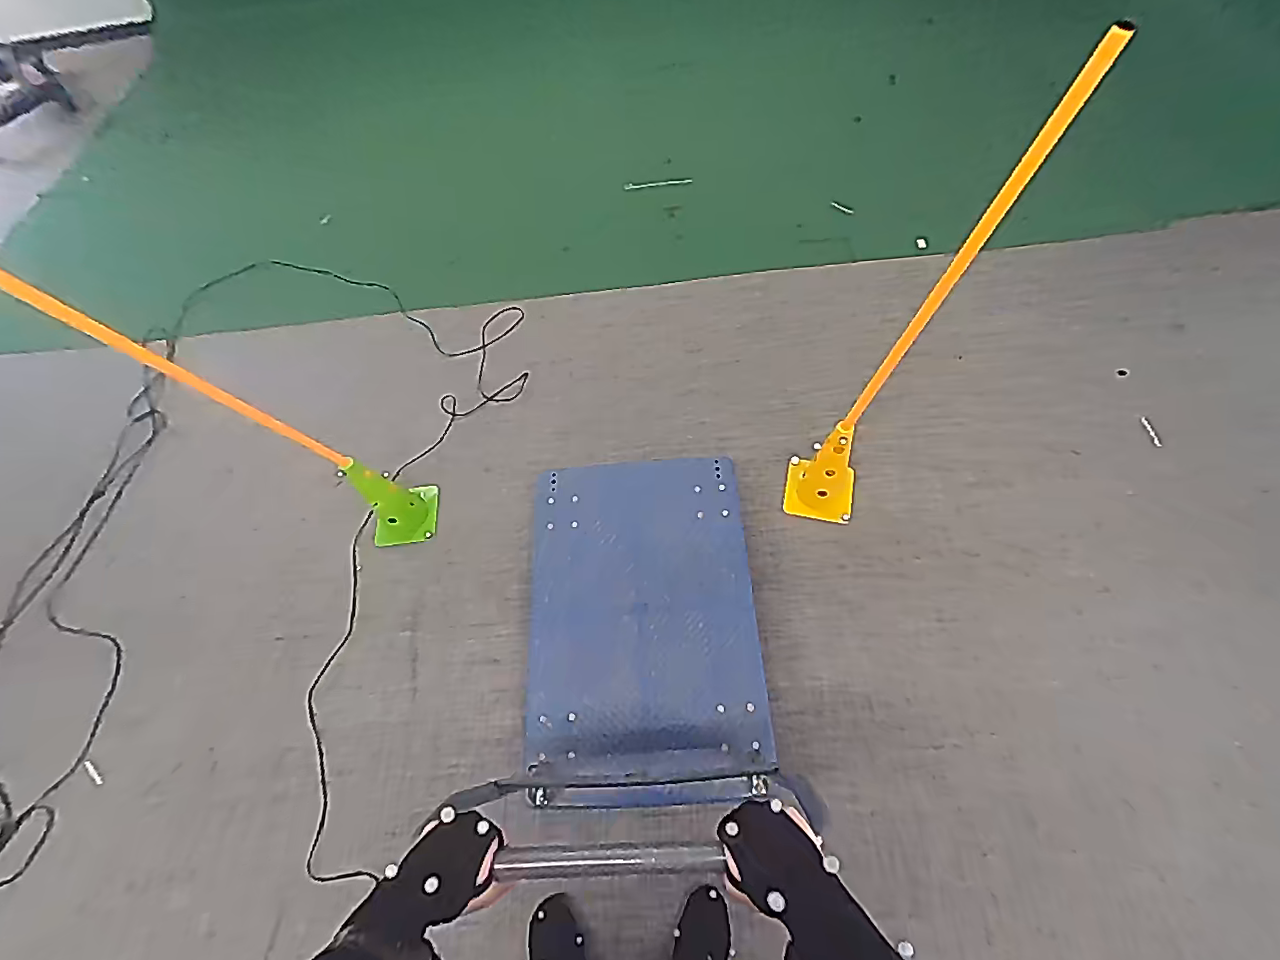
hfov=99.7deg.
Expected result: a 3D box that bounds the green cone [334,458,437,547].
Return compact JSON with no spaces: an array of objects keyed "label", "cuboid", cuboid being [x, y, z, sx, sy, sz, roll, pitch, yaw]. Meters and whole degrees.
[{"label":"green cone","cuboid":[-0.792,0.036,1.634,0.202,0.368,0.200,-9,61,4]}]
